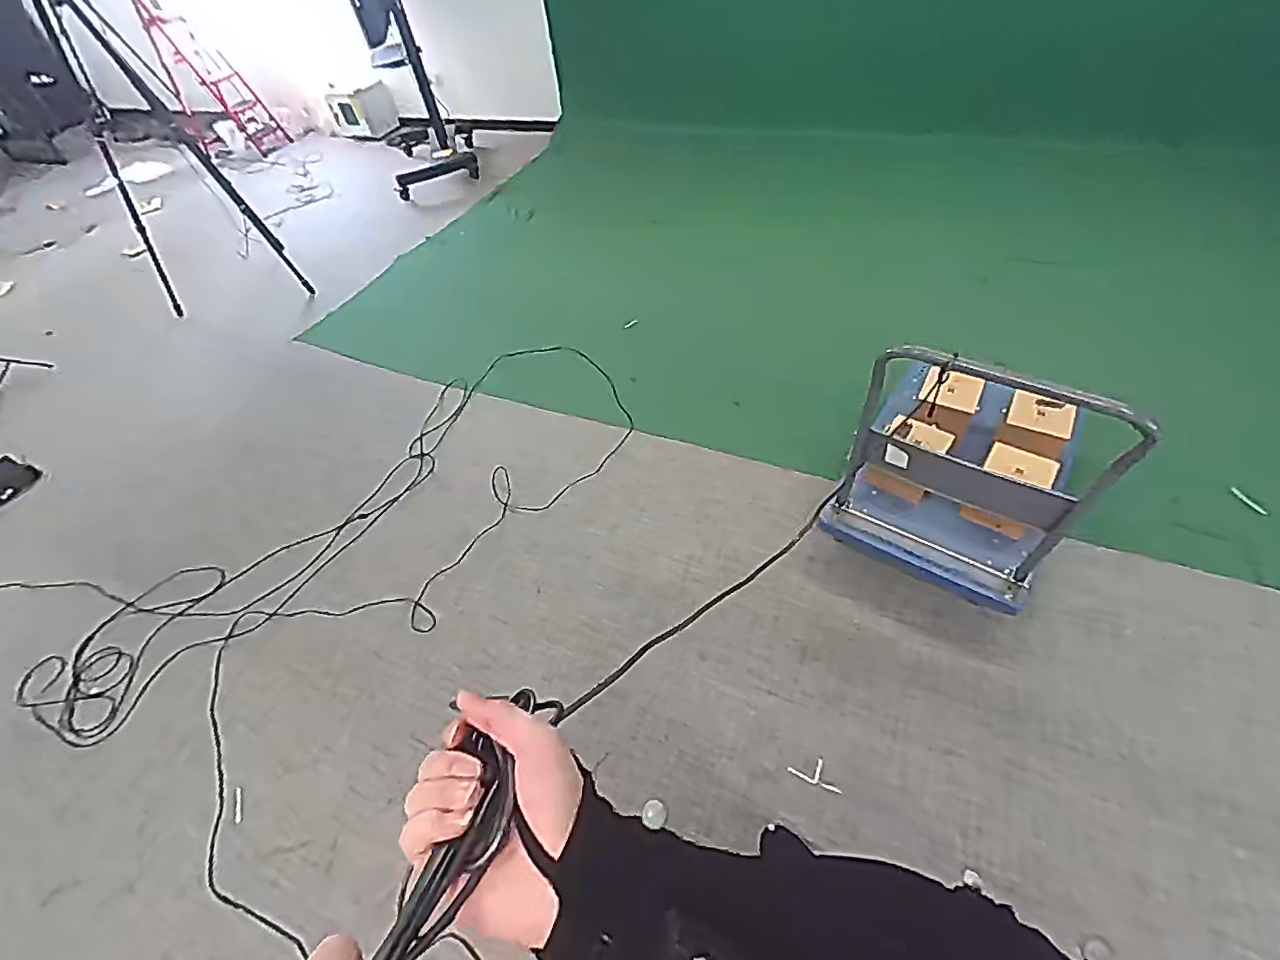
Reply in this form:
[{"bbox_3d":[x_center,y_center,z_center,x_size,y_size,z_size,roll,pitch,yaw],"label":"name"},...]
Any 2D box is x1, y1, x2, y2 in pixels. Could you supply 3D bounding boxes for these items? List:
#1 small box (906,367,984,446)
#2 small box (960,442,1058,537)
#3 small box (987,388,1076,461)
[{"bbox_3d":[1.000,-0.239,1.785,0.168,0.176,0.179,23,58,24],"label":"small box"},{"bbox_3d":[1.055,0.029,1.558,0.168,0.176,0.179,27,60,27],"label":"small box"},{"bbox_3d":[1.212,-0.152,1.682,0.168,0.176,0.179,22,58,25],"label":"small box"}]
